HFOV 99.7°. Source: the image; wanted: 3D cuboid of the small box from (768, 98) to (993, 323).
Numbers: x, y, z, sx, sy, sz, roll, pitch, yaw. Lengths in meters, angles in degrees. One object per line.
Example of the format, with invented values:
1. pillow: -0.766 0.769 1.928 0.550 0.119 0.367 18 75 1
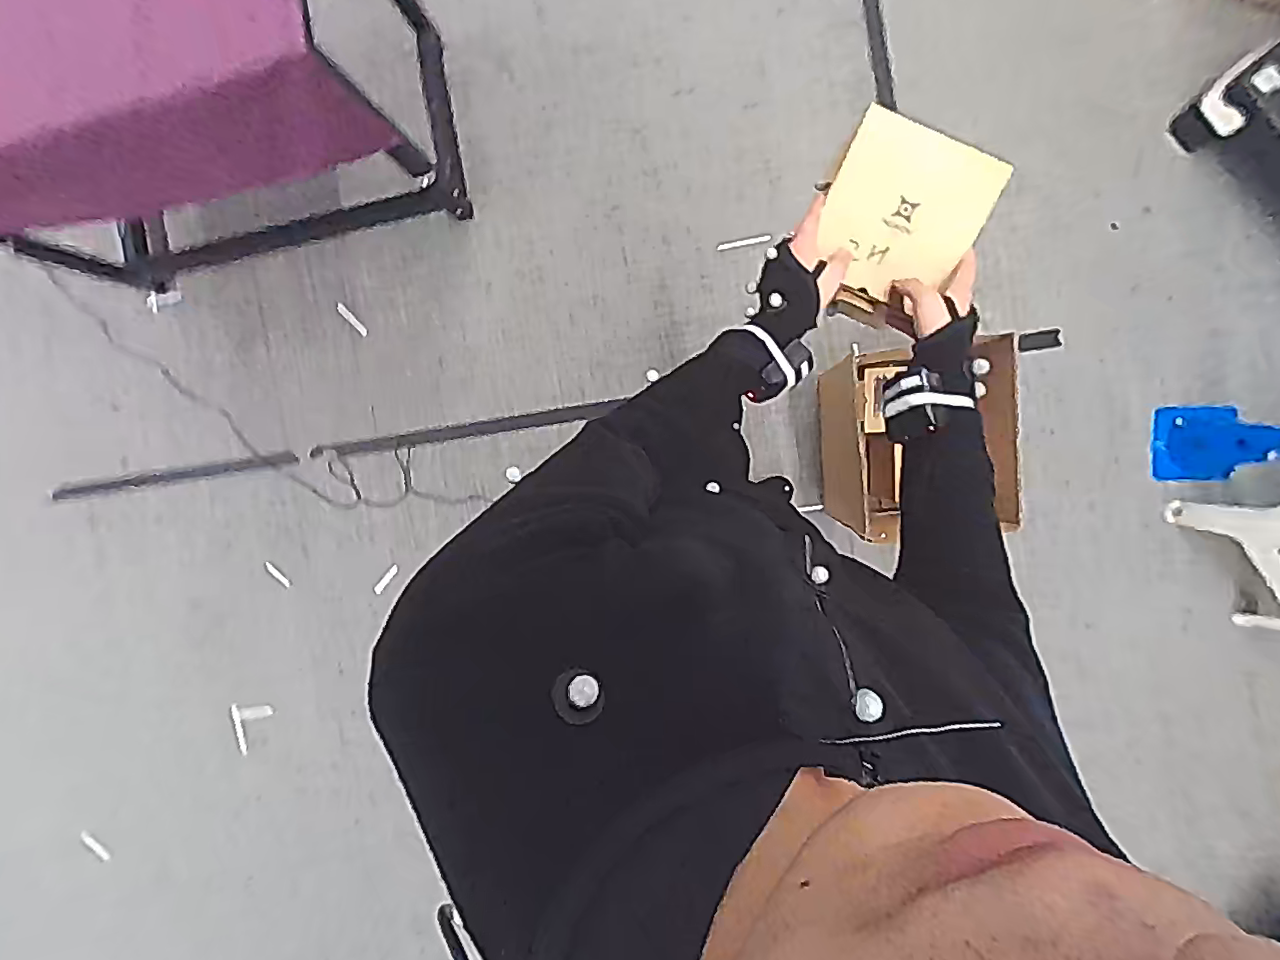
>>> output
1. small box: 0.271 -0.309 0.662 0.168 0.176 0.179 23 104 0
